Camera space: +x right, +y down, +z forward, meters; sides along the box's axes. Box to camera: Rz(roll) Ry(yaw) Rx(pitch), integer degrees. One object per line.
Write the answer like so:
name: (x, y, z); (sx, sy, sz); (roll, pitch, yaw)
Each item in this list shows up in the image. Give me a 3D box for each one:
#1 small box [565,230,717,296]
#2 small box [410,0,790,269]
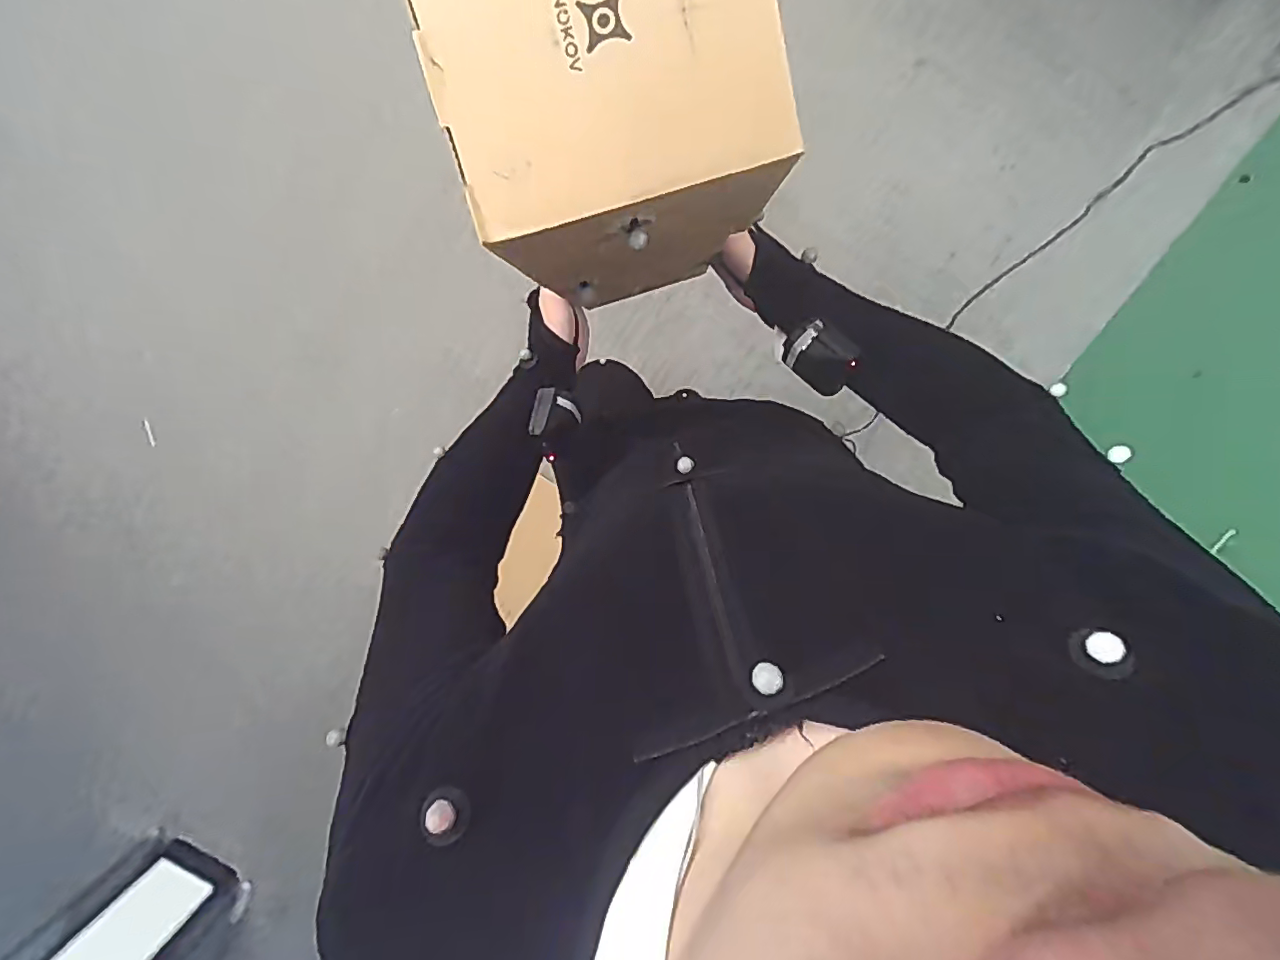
small box: (-0.013, -0.336, 0.661); (0.179, 0.176, 0.168); (-15, 101, 5)
small box: (-0.019, -0.247, 0.346); (0.179, 0.176, 0.168); (-13, 102, 5)
